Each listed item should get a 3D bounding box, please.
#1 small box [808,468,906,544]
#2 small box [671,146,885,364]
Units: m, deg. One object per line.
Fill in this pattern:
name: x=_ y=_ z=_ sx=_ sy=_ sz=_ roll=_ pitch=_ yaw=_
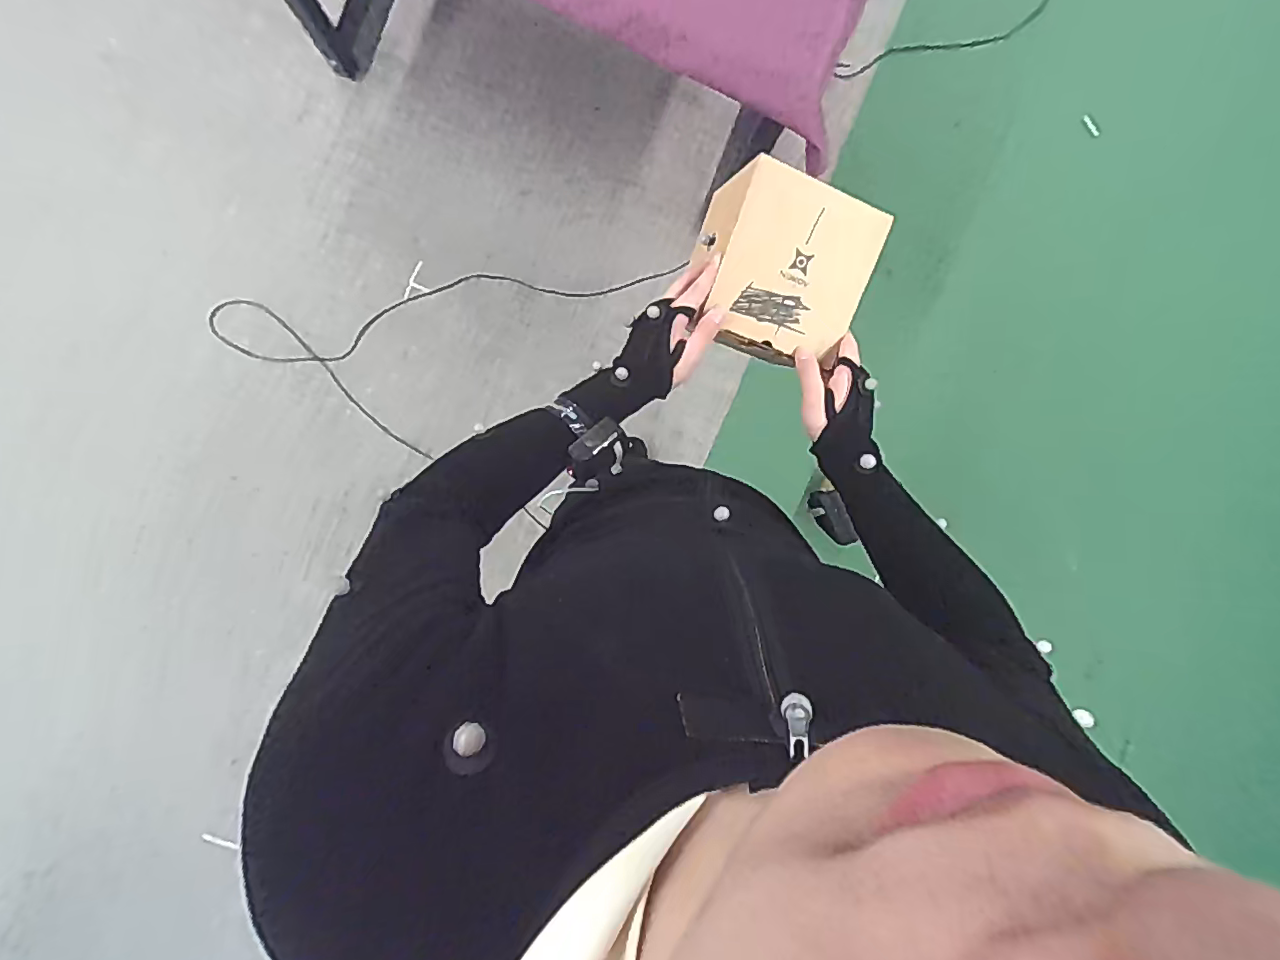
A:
small box: x=0.634 y=0.069 z=1.599 sx=0.179 sy=0.176 sz=0.168 roll=25 pitch=90 yaw=-6
small box: x=0.147 y=-0.253 z=0.650 sx=0.168 sy=0.176 sz=0.179 roll=16 pitch=102 yaw=-13
